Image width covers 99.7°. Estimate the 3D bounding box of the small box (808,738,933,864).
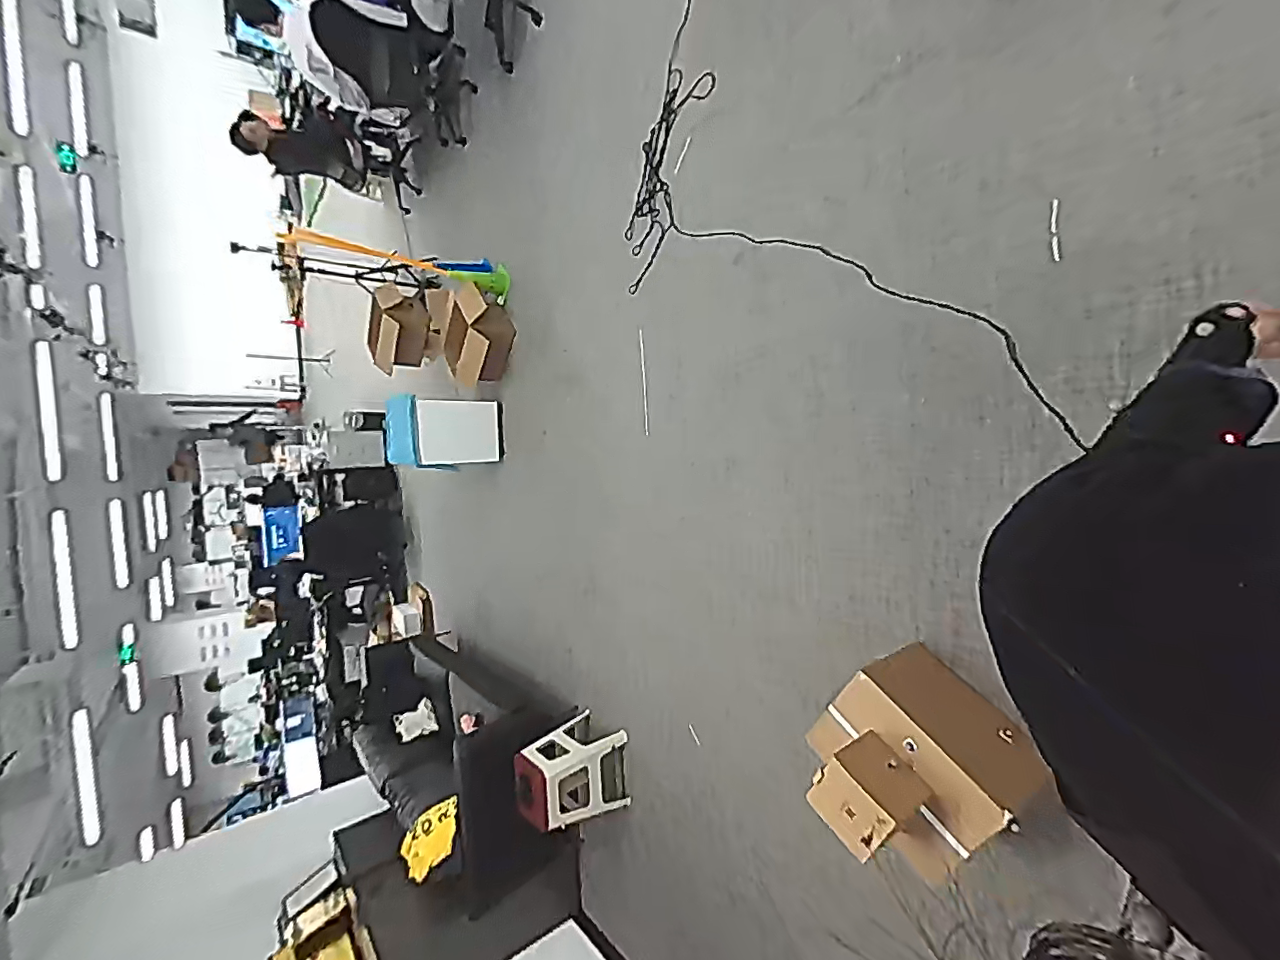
[{"bbox_3d":[0.539,0.737,1.268,0.179,0.176,0.168,43,127,42],"label":"small box"}]
